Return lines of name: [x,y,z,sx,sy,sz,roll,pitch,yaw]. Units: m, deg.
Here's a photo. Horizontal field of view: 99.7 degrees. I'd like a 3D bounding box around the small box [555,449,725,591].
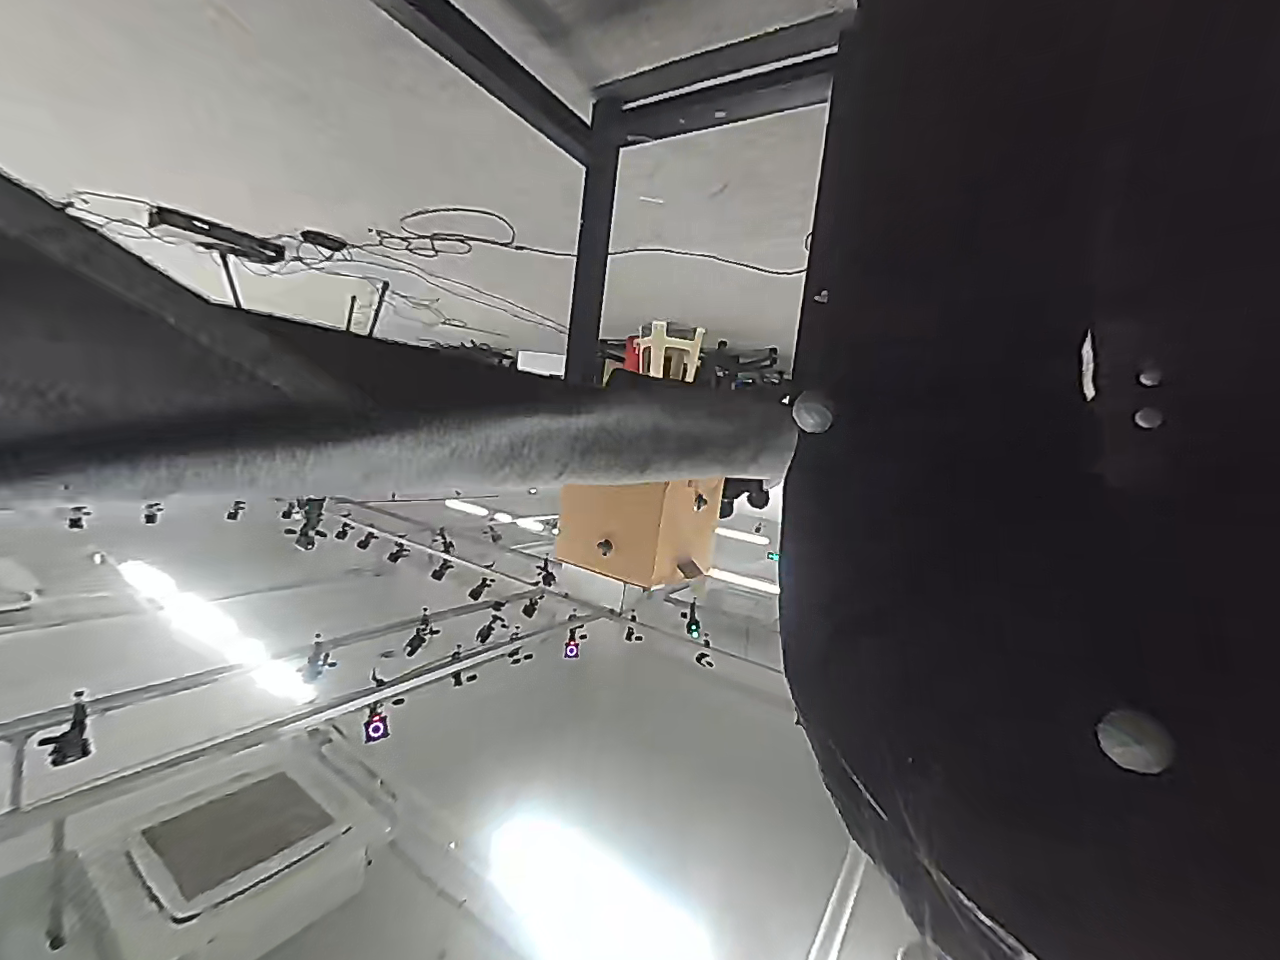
small box: [0.004,0.047,0.782,0.179,0.176,0.168,10,-175,35]
